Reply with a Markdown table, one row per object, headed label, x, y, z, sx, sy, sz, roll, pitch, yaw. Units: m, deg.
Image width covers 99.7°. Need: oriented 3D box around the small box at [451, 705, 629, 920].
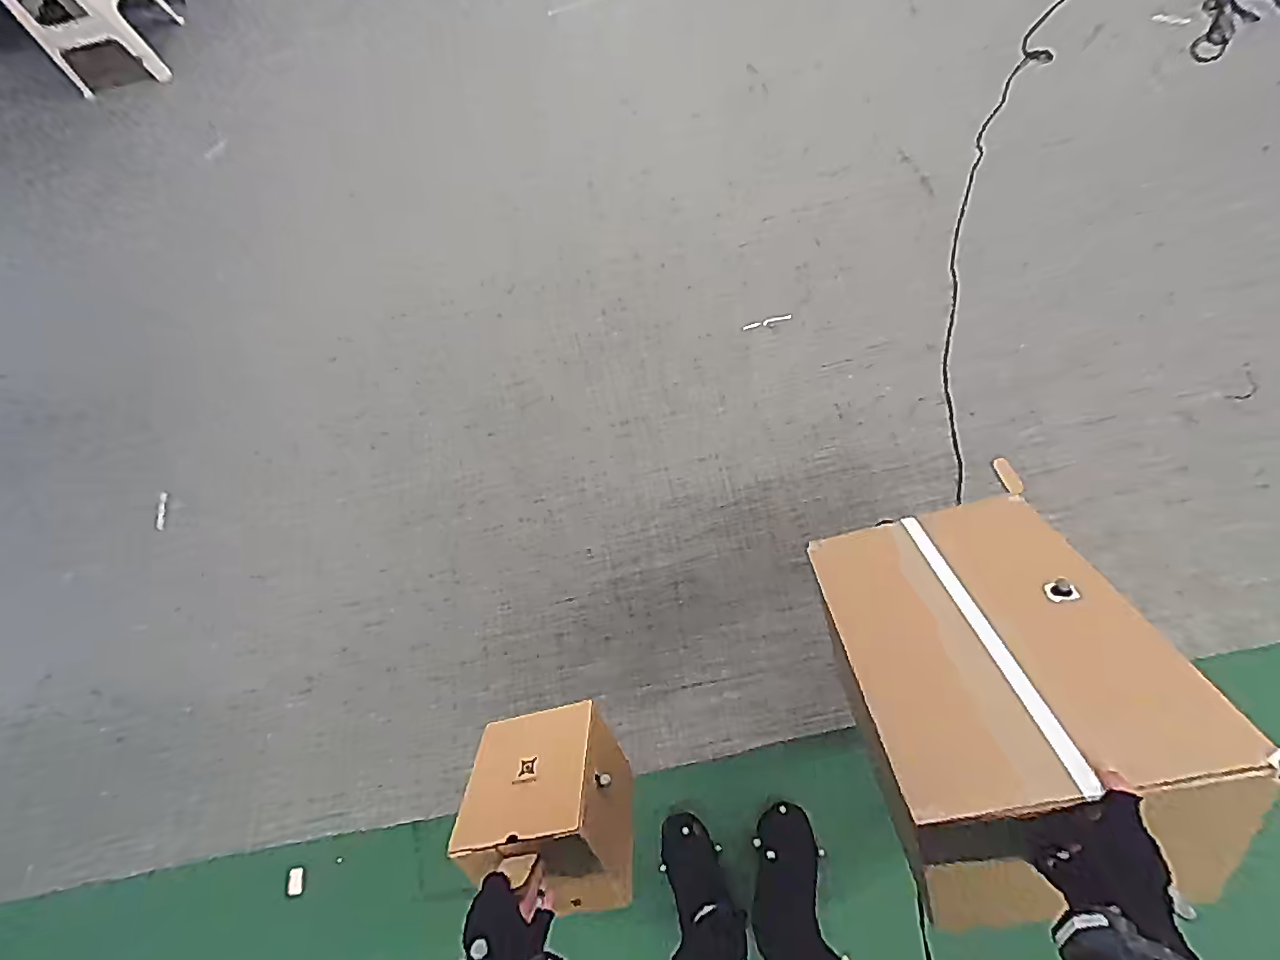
| label | x | y | z | sx | sy | sz | roll | pitch | yaw |
| --- | --- | --- | --- | --- | --- | --- | --- | --- | --- |
| small box | -0.119 | 0.442 | 0.726 | 0.168 | 0.176 | 0.179 | -17 | 27 | 10 |
